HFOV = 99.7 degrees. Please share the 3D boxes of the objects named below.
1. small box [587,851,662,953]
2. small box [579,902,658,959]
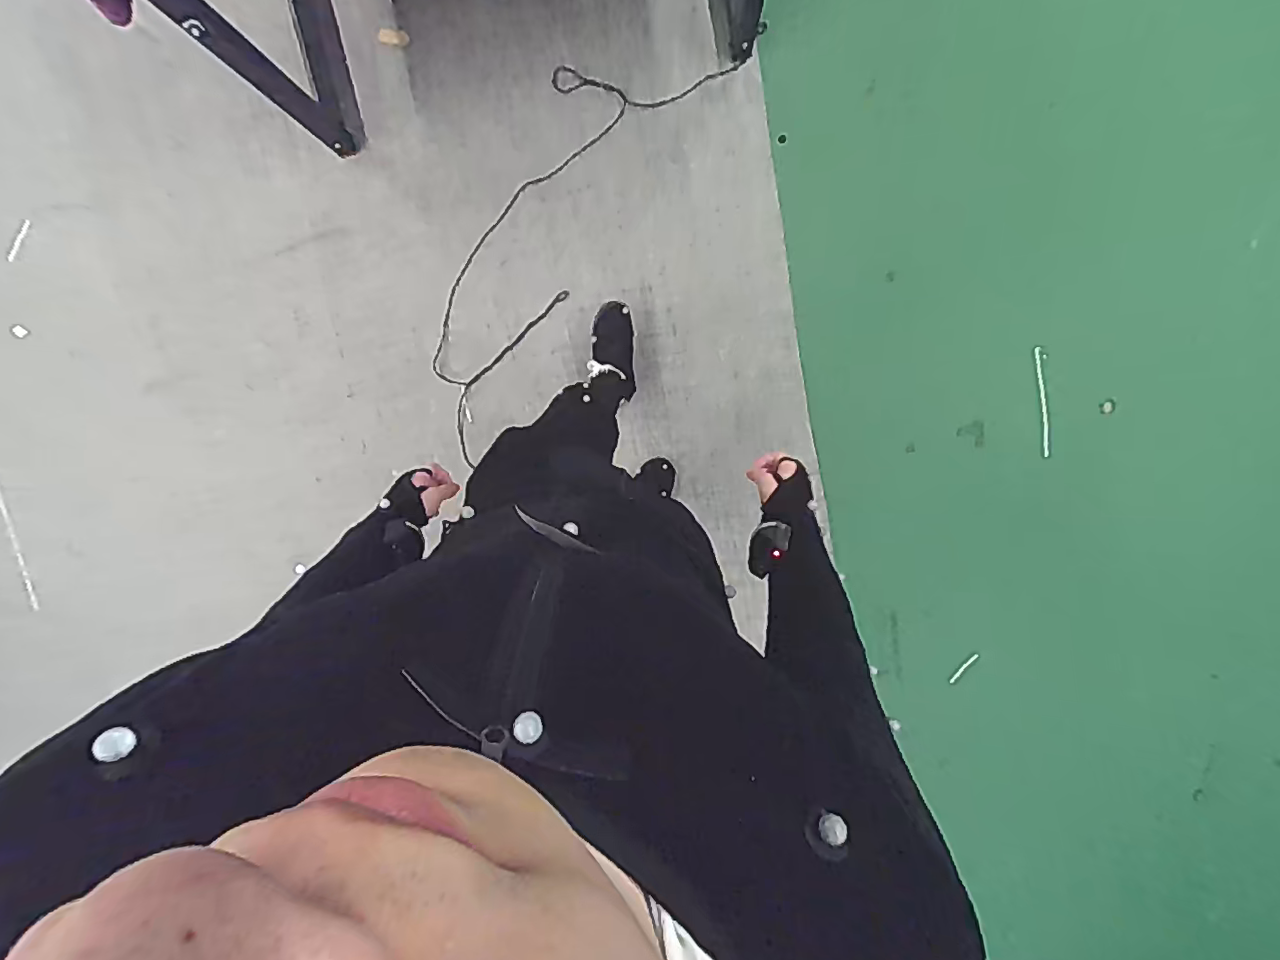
[{"bbox_3d":[-0.040,1.163,1.489,0.168,0.176,0.179,-13,97,3],"label":"small box"},{"bbox_3d":[-0.050,1.184,1.329,0.168,0.176,0.179,-13,97,3],"label":"small box"}]
